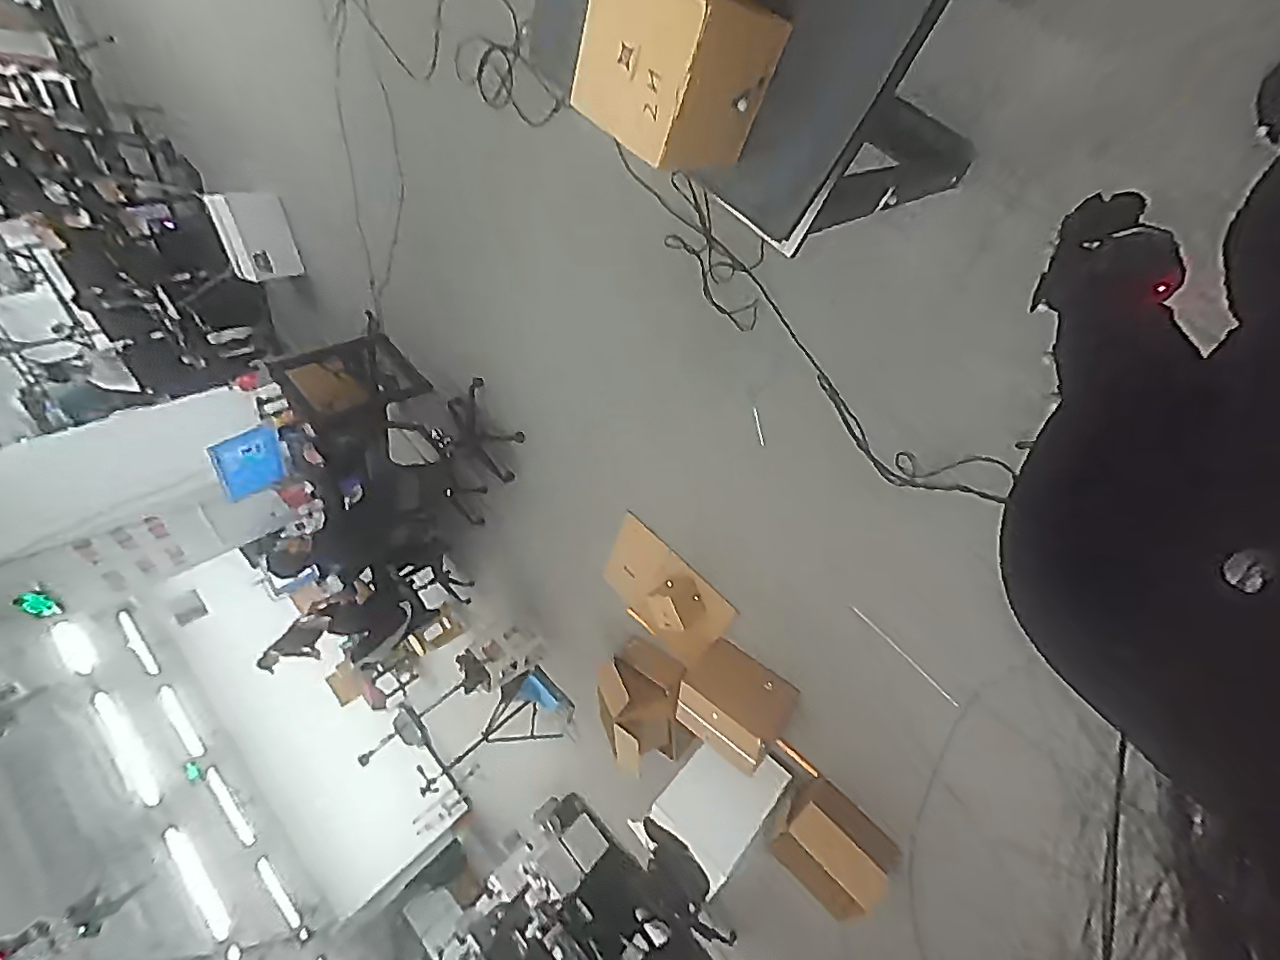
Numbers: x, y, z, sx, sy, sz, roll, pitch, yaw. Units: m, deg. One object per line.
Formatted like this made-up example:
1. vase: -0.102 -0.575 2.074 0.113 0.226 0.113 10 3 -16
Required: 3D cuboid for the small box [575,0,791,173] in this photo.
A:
1. small box: 0.050 -0.512 0.681 0.179 0.176 0.168 46 140 18
